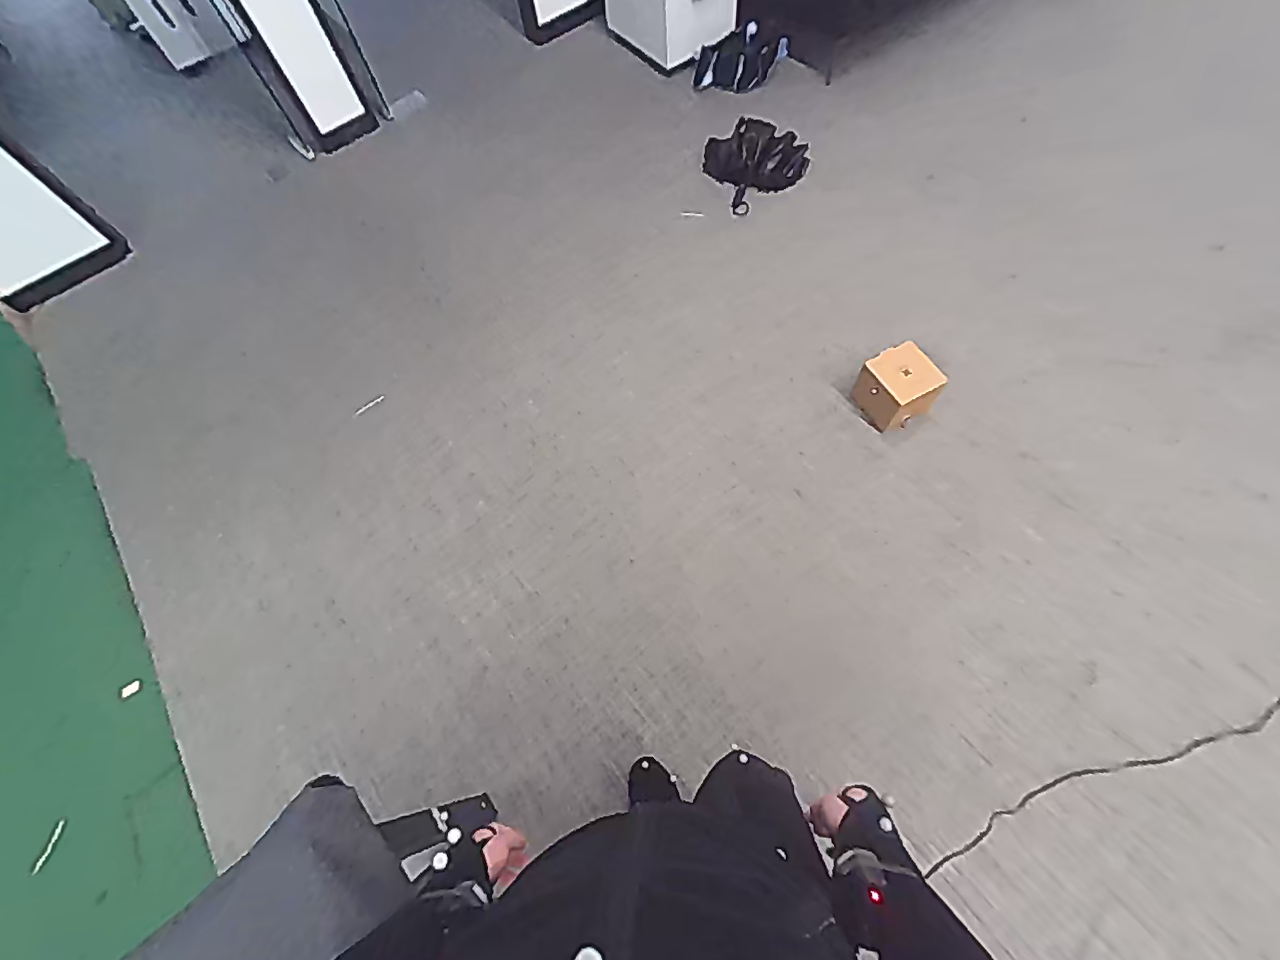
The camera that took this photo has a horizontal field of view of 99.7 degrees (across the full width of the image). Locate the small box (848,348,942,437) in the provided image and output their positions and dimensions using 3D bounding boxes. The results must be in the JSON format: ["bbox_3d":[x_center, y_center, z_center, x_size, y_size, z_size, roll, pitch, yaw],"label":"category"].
[{"bbox_3d":[0.768,-0.264,1.654,0.168,0.176,0.179,-27,66,-7],"label":"small box"}]
